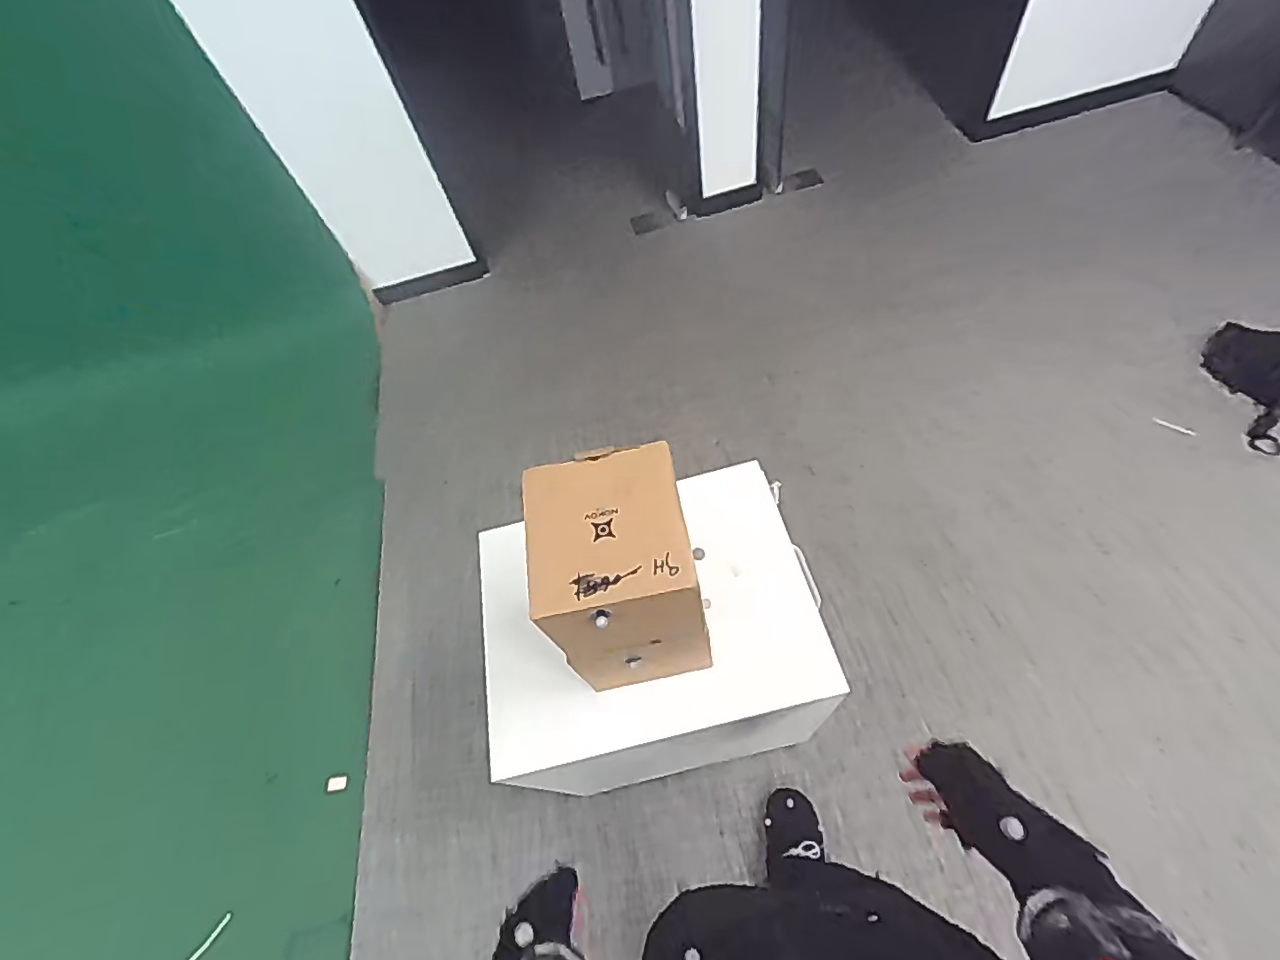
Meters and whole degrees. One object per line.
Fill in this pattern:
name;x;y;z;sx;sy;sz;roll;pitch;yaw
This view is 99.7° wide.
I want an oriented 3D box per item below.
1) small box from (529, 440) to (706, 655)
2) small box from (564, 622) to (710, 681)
small box;-0.023;0.084;0.631;0.168;0.176;0.179;-13;58;0
small box;-0.005;0.173;0.764;0.179;0.176;0.168;-12;57;2
